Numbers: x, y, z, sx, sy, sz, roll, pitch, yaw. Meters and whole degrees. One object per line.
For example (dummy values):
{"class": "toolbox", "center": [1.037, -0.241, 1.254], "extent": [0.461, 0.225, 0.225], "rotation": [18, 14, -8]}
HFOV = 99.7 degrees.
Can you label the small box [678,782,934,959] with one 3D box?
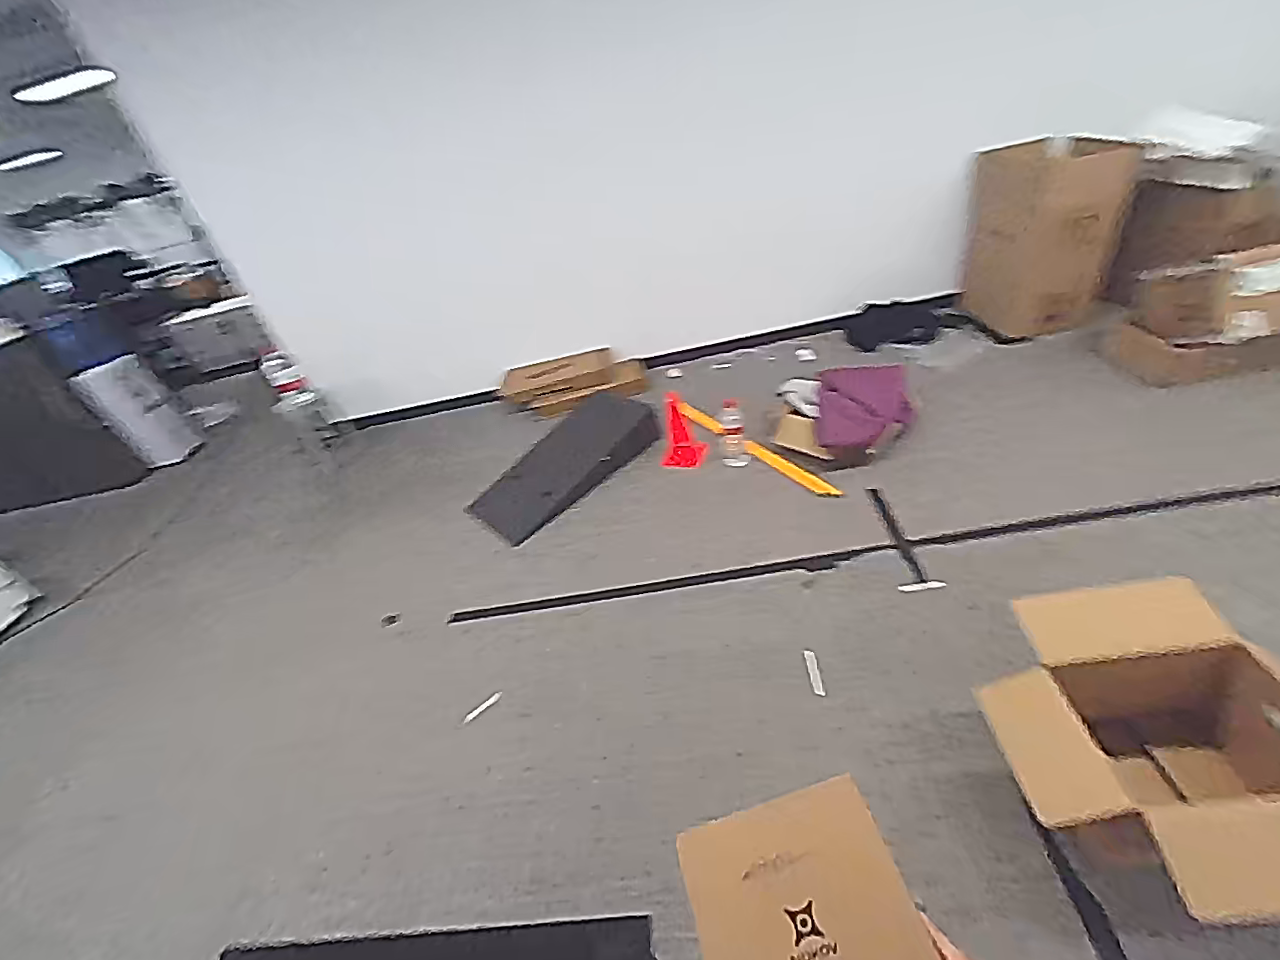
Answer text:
{"class": "small box", "center": [0.148, 0.397, 0.466], "extent": [0.168, 0.176, 0.179], "rotation": [-20, 43, 2]}
